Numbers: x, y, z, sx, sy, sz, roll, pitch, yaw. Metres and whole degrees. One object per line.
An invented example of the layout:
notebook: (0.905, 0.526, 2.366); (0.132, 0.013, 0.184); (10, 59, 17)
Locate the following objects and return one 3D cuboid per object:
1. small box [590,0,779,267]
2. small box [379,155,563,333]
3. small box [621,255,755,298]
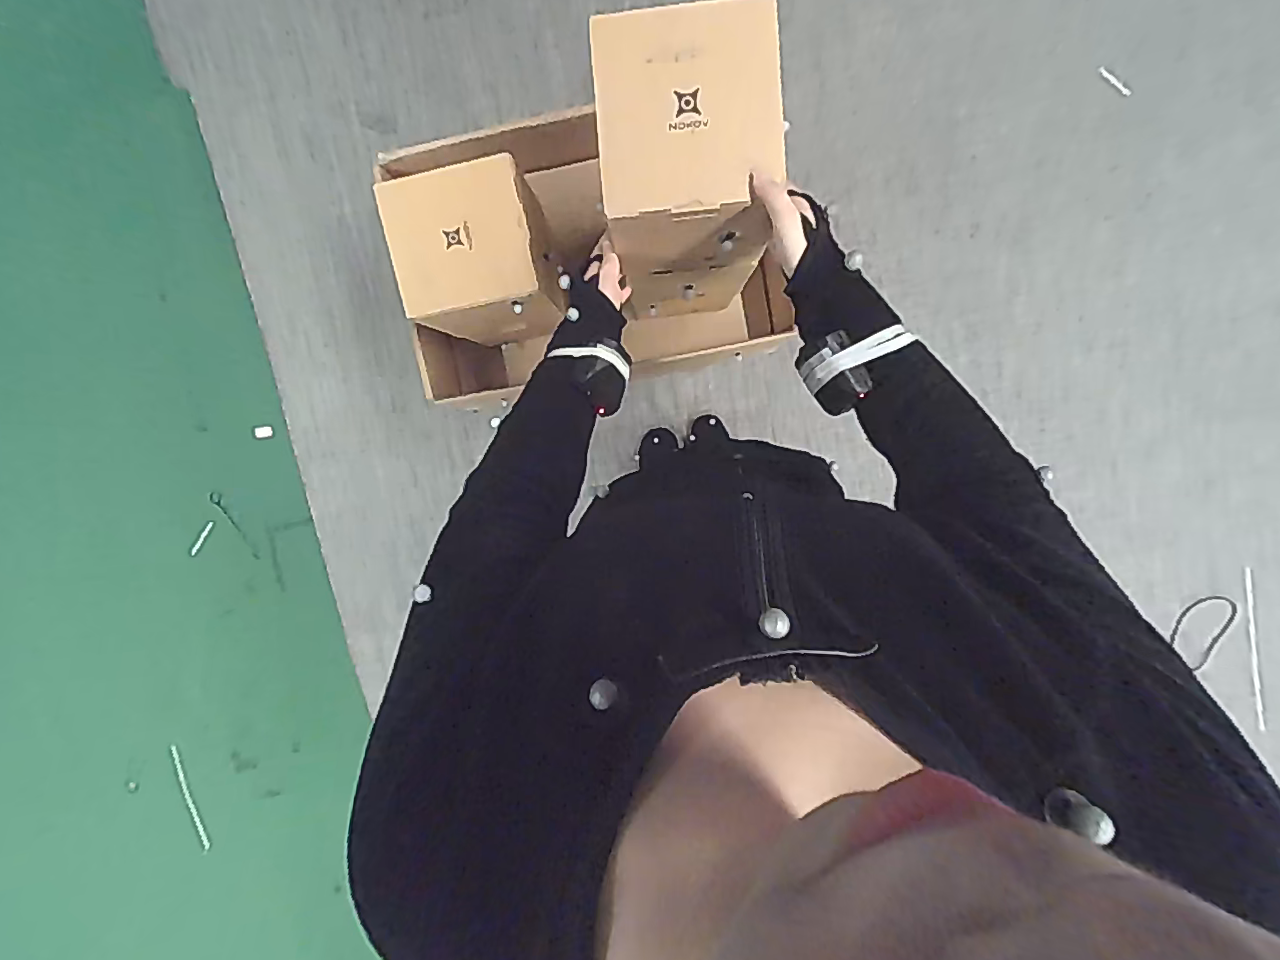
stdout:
small box: (0.047, -0.332, 0.561); (0.168, 0.176, 0.179); (-3, 94, 4)
small box: (-0.220, -0.310, 0.749); (0.179, 0.176, 0.168); (-11, 97, 3)
small box: (0.059, -0.349, 0.727); (0.168, 0.176, 0.179); (-4, 98, 4)
